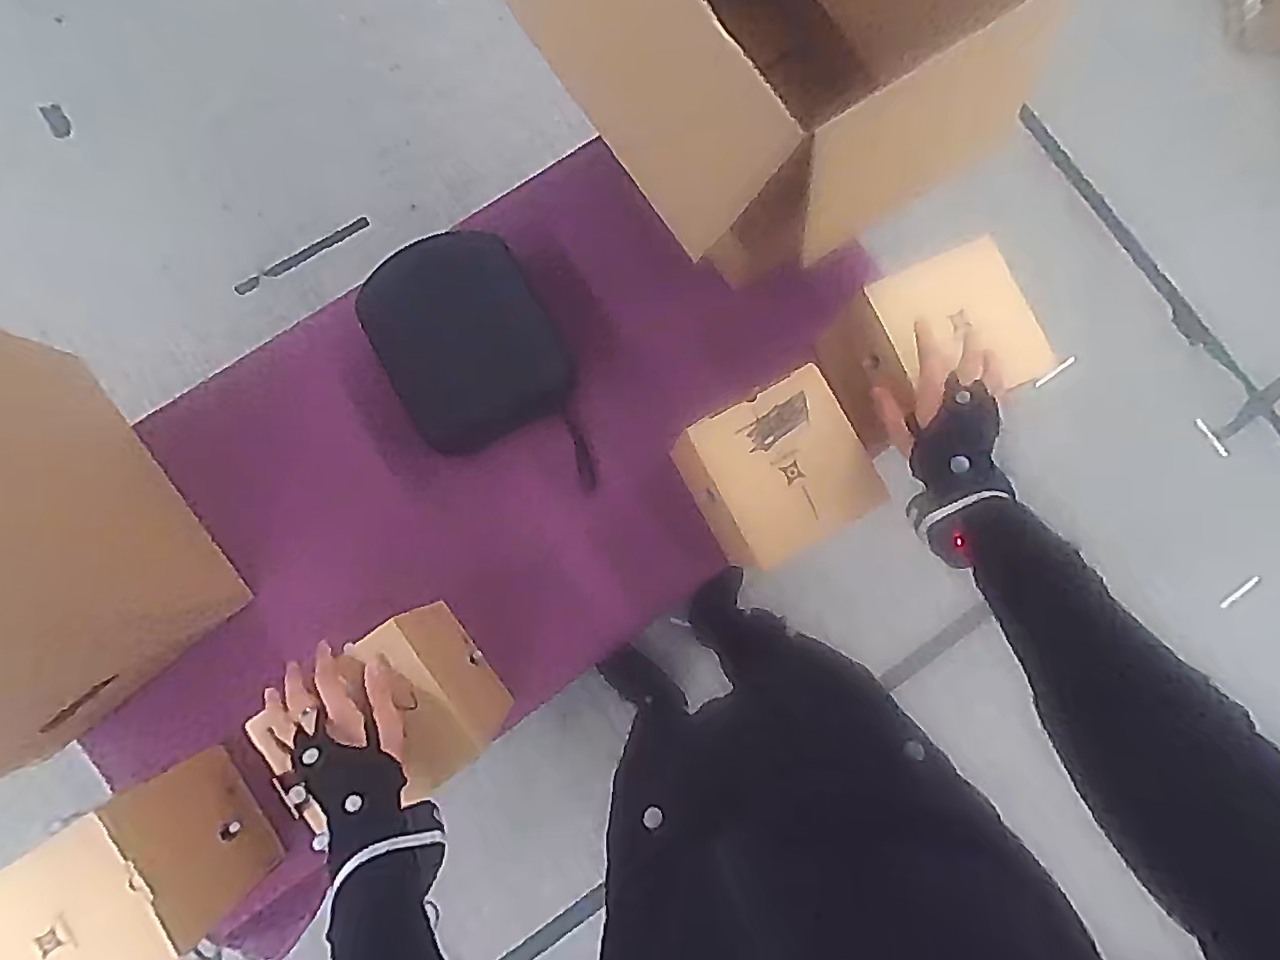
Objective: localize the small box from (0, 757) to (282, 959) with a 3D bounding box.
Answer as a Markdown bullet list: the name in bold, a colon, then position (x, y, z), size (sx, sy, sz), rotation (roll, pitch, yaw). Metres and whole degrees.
- **small box**: position (-0.546, 0.445, 0.585), size (0.179, 0.176, 0.168), rotation (-35, 86, -6)

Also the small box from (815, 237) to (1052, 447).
- **small box**: position (0.349, -0.160, 0.682), size (0.168, 0.176, 0.179), rotation (-24, 85, -4)
